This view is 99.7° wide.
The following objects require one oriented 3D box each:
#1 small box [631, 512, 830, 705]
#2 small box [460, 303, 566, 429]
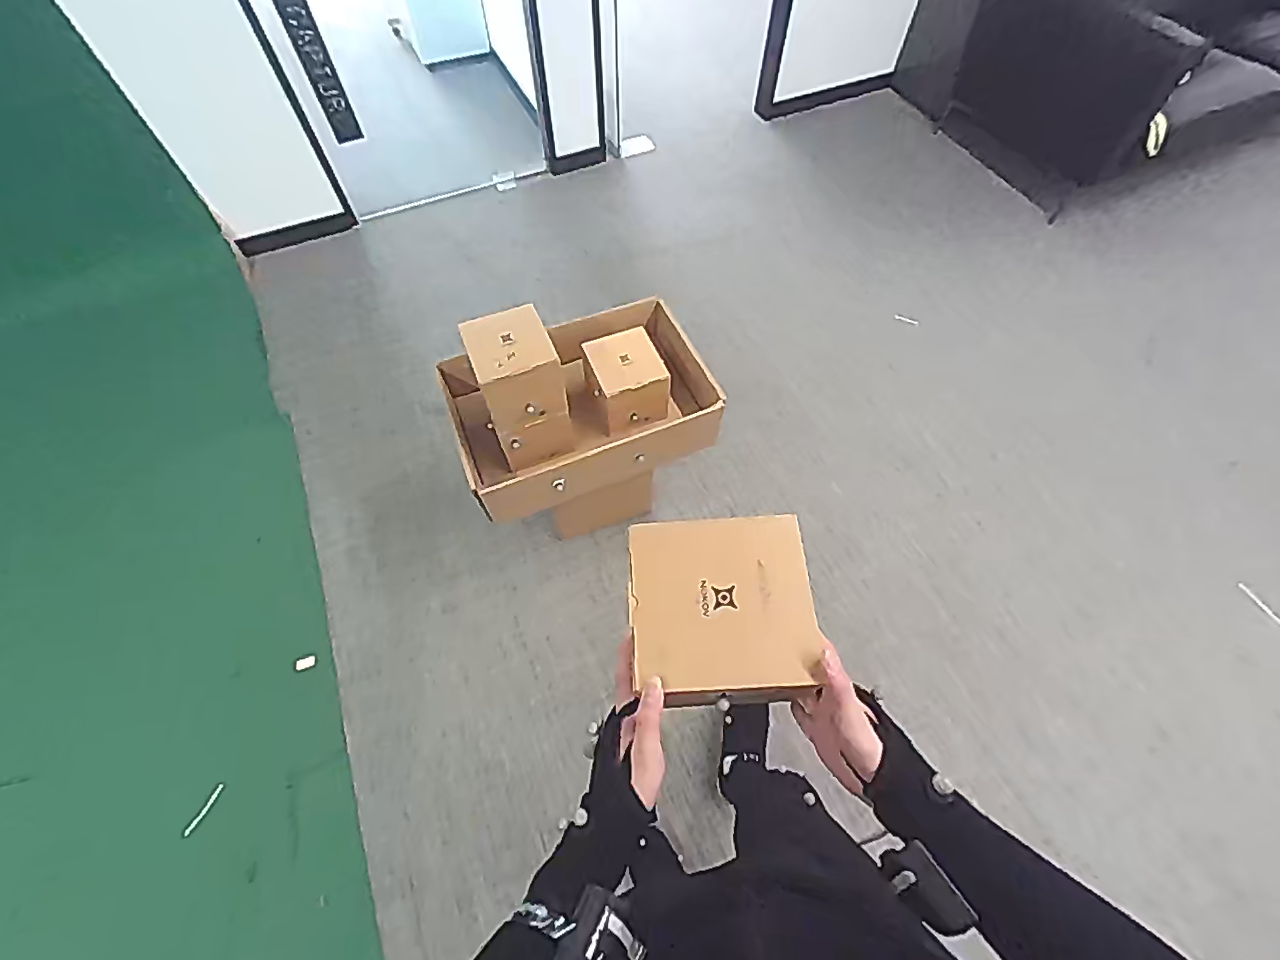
[{"bbox_3d":[0.085,0.146,0.583,0.179,0.176,0.168,-3,63,2],"label":"small box"},{"bbox_3d":[-0.266,-0.241,1.154,0.168,0.176,0.179,-20,62,-12],"label":"small box"}]
